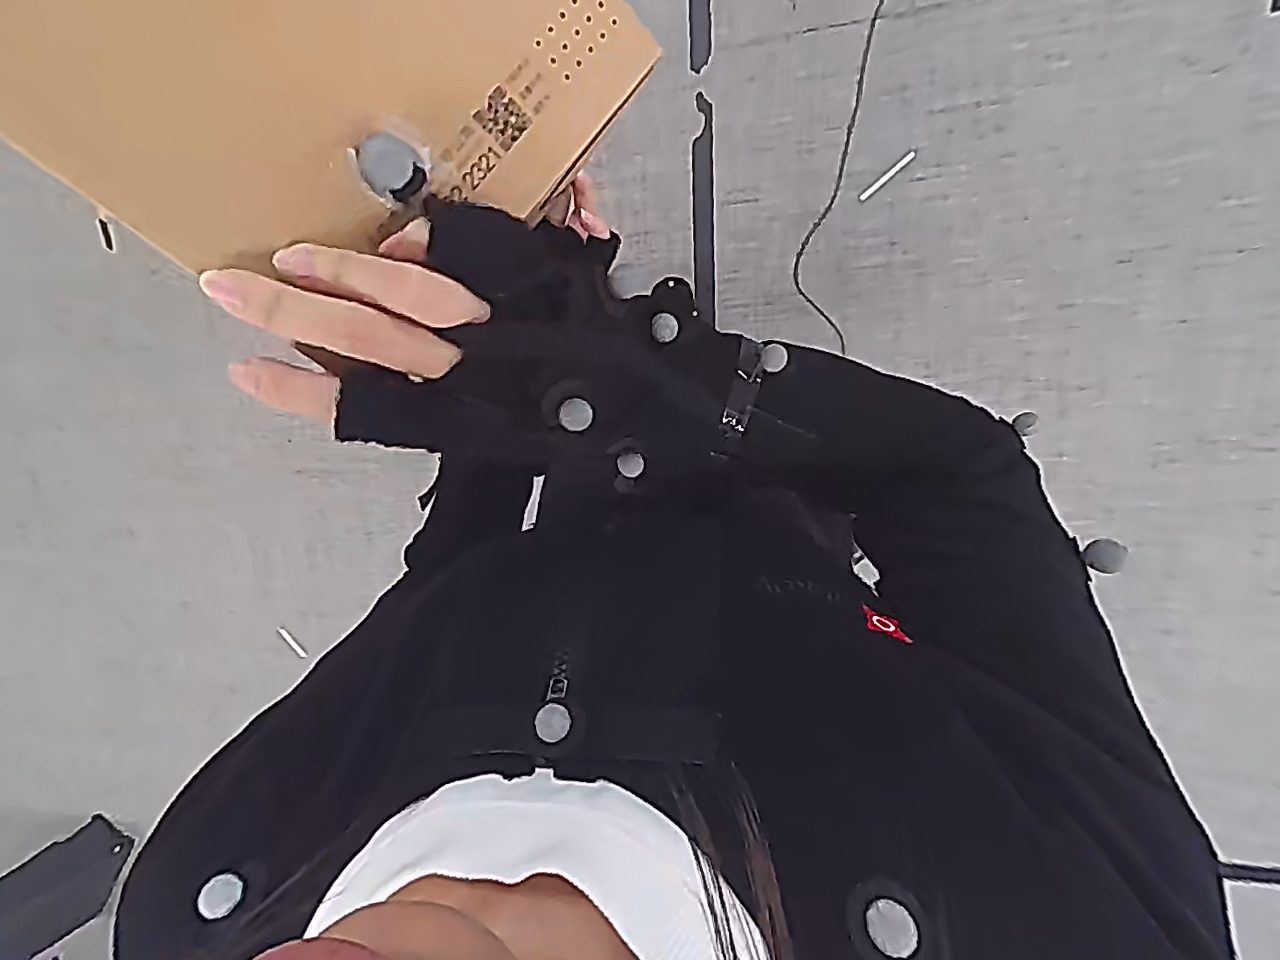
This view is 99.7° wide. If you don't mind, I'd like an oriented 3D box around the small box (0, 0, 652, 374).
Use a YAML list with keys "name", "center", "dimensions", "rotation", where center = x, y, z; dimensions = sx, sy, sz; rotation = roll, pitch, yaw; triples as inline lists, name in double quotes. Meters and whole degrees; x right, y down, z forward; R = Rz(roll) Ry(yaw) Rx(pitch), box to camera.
- name: "small box"
  center: [-0.125, -0.166, 0.254]
  dimensions: [0.176, 0.179, 0.168]
  rotation: [40, 87, -23]
